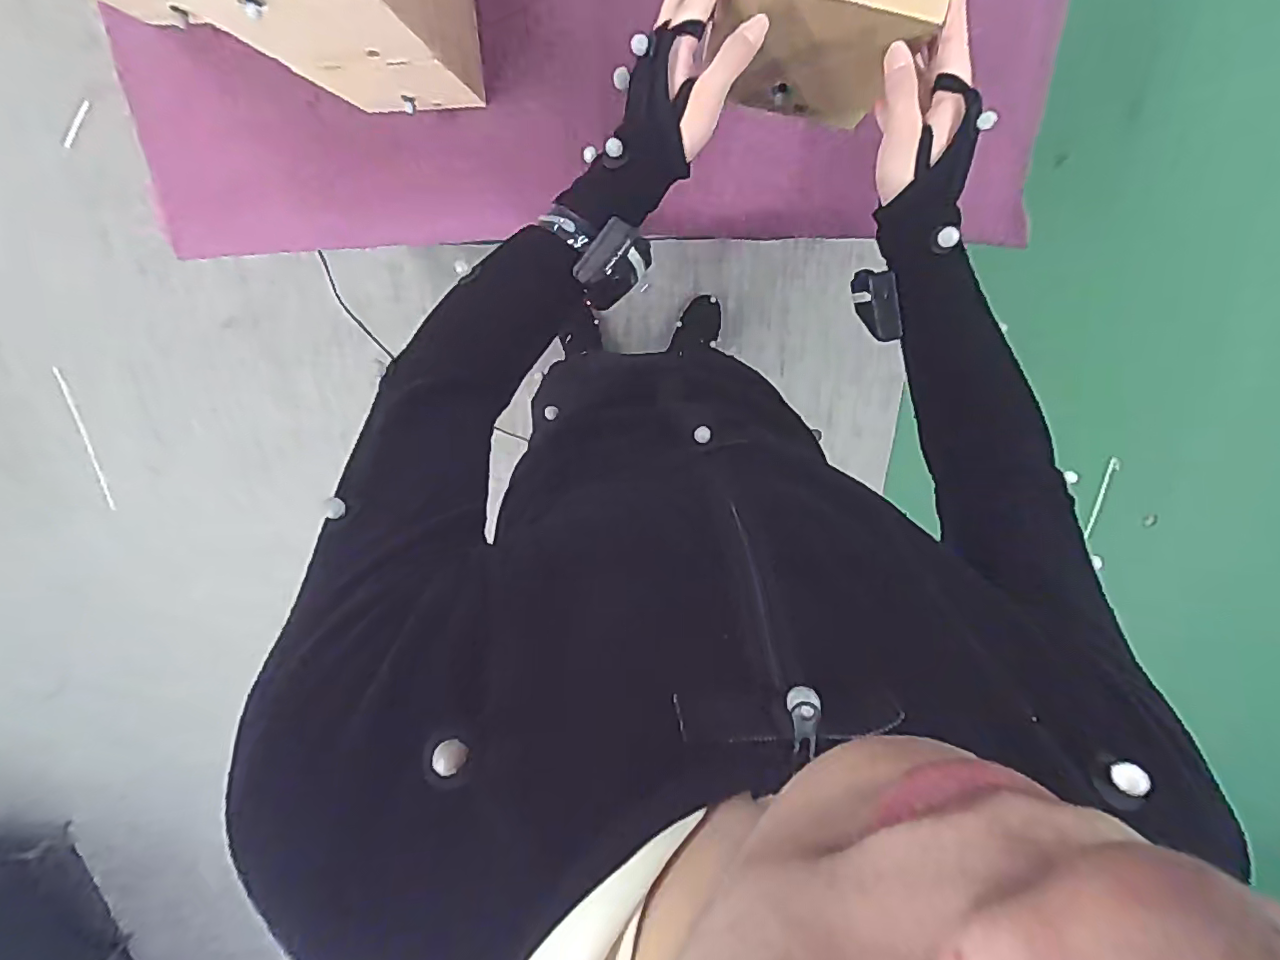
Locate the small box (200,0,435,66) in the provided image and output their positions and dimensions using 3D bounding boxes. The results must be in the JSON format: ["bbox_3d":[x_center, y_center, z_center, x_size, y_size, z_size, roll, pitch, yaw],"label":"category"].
[{"bbox_3d":[-0.297,-0.492,0.462,0.168,0.176,0.179,-1,110,3],"label":"small box"}]

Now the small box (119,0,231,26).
[{"bbox_3d":[-0.553,-0.643,0.592,0.168,0.176,0.179,-2,112,4],"label":"small box"}]

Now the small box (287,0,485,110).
[{"bbox_3d":[-0.290,-0.550,0.616,0.168,0.176,0.179,-1,112,3],"label":"small box"}]
